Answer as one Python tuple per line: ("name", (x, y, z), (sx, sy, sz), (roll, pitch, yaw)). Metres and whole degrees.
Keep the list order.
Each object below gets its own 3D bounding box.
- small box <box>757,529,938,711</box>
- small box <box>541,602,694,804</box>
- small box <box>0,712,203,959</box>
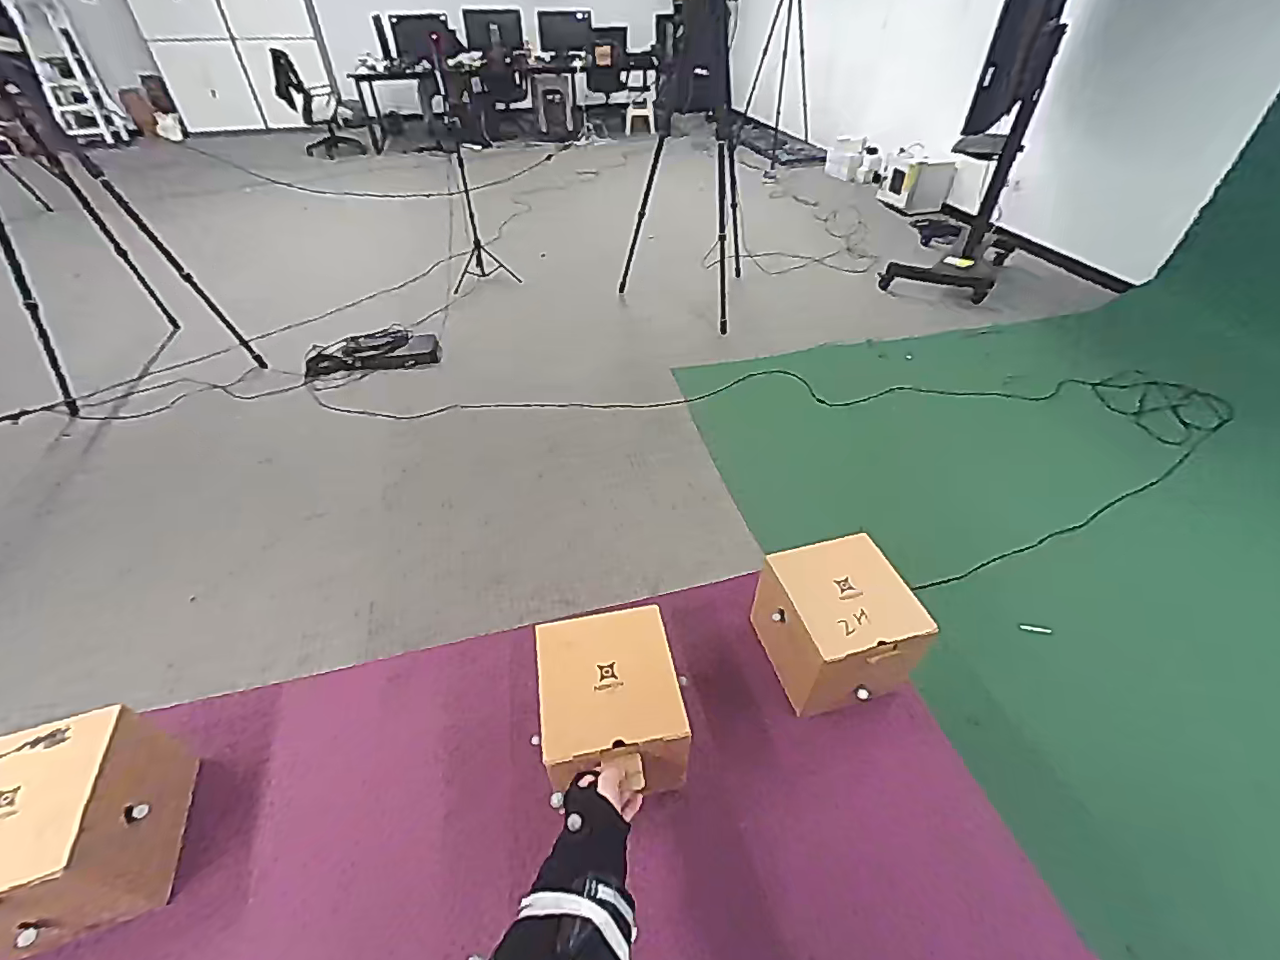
("small box", (0.284, 0.203, 0.790), (0.168, 0.176, 0.179), (-12, 45, -10))
("small box", (-0.035, 0.291, 0.711), (0.168, 0.176, 0.179), (-9, 44, -8))
("small box", (-0.638, 0.401, 0.607), (0.168, 0.176, 0.179), (-14, 46, -14))
